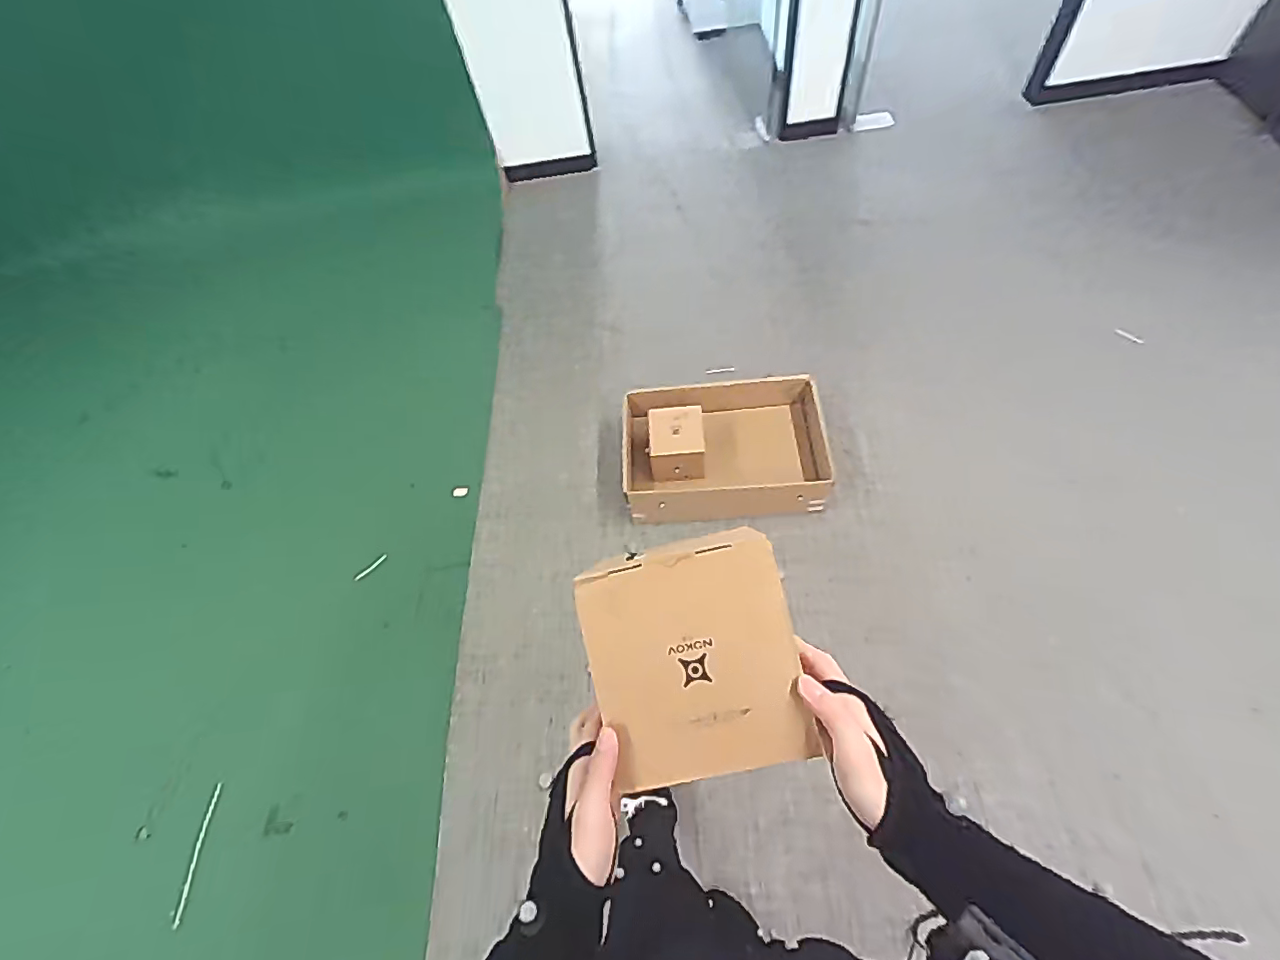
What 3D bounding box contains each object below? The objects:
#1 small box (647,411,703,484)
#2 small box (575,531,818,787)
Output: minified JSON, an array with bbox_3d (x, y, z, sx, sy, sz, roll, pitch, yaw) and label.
[{"bbox_3d":[0.112,-0.095,1.718,0.168,0.176,0.179,-4,59,4],"label":"small box"},{"bbox_3d":[0.048,0.147,0.505,0.168,0.176,0.179,-12,85,5],"label":"small box"}]
